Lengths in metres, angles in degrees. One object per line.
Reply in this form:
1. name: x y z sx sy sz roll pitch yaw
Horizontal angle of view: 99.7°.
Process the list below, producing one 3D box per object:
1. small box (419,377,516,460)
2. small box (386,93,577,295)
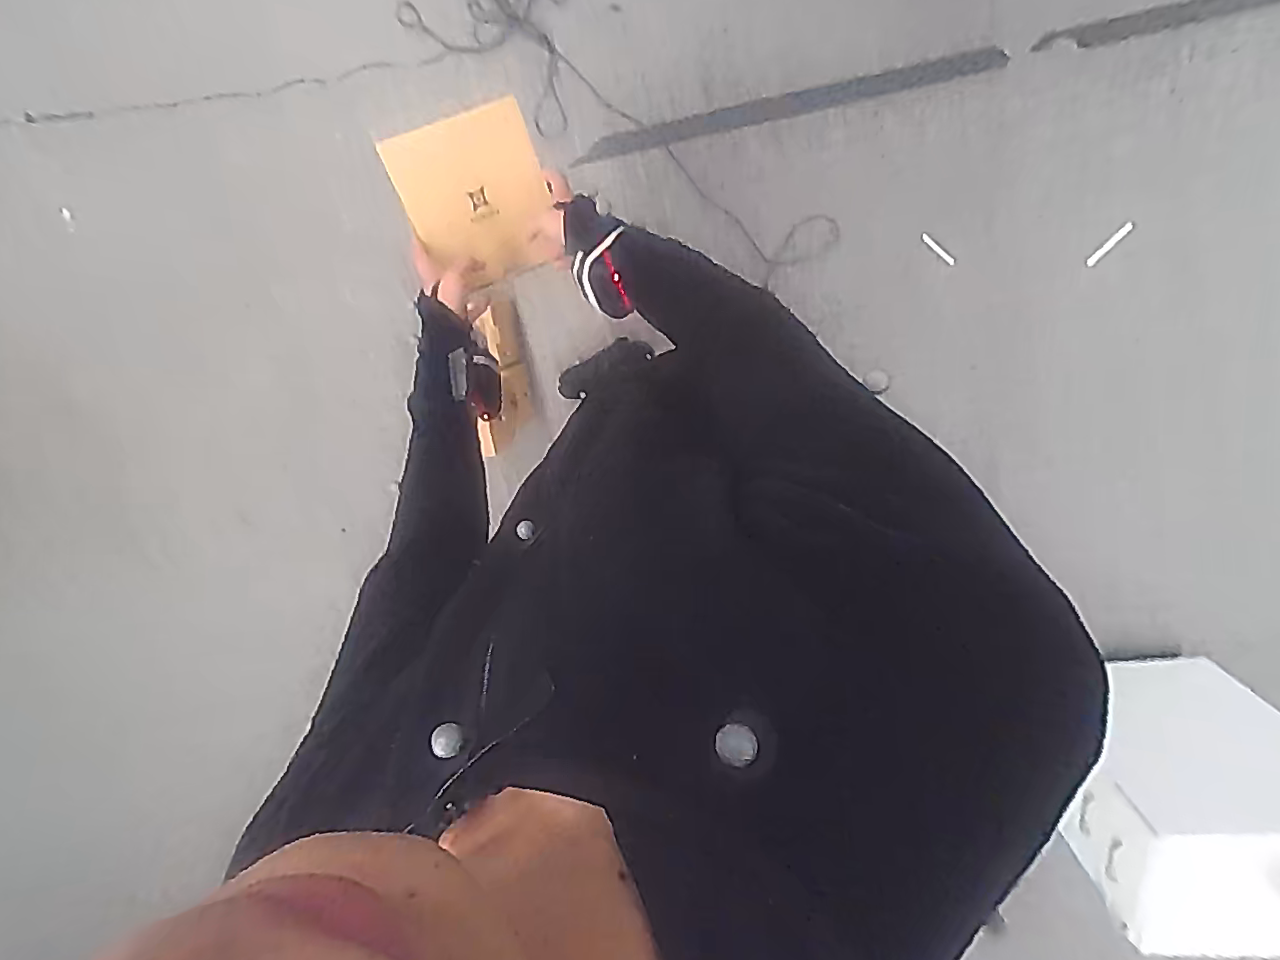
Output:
1. small box: -0.434 -0.164 1.387 0.168 0.176 0.179 -3 111 8
2. small box: -0.196 -0.358 0.698 0.168 0.176 0.179 -22 119 -3
